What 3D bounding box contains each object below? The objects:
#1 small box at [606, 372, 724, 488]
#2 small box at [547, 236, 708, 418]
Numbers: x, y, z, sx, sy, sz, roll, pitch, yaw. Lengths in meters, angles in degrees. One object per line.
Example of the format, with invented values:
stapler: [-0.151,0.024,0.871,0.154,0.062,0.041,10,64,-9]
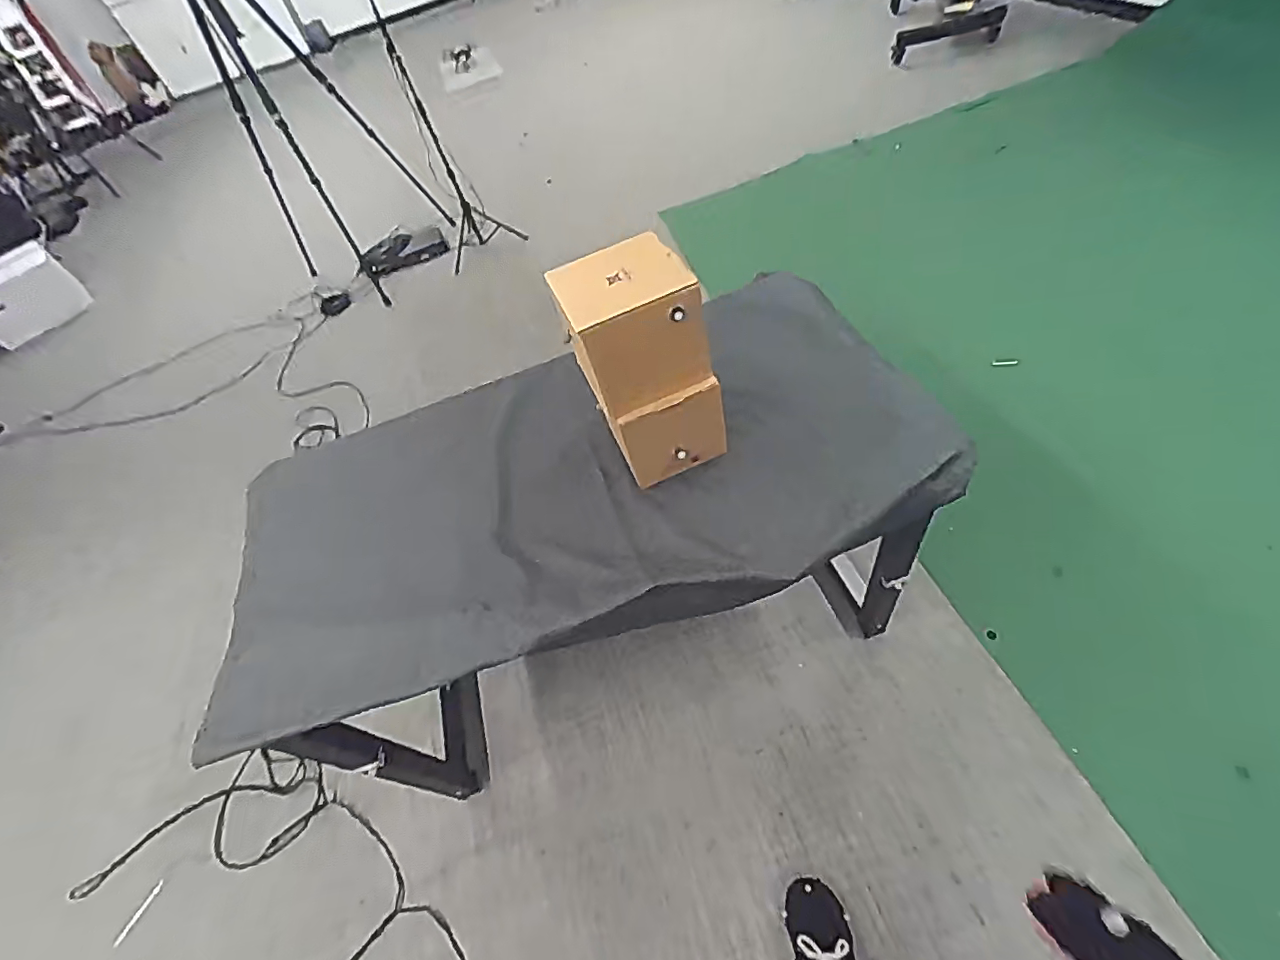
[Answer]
small box: [0.031,-0.119,0.920,0.168,0.176,0.179,-23,51,-4]
small box: [-0.014,-0.221,0.800,0.179,0.176,0.168,-24,51,-5]
